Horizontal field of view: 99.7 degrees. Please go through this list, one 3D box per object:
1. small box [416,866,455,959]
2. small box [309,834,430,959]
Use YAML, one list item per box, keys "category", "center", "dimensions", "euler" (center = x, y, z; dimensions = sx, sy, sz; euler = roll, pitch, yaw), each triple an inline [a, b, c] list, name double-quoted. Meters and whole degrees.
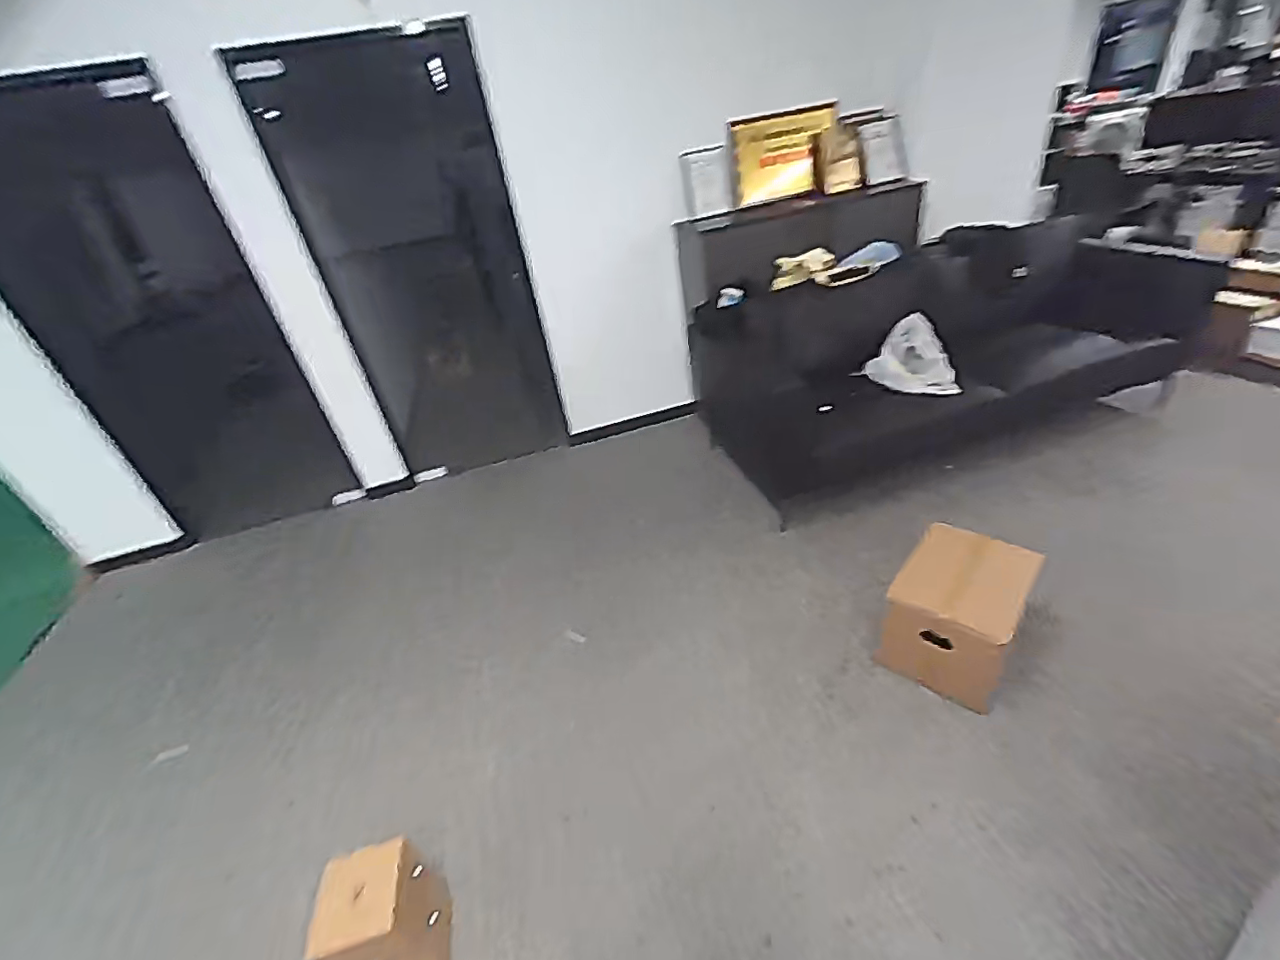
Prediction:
- category: "small box"
  center: [-0.546, 1.043, 1.245]
  dimensions: [0.179, 0.176, 0.168]
  euler: [-15, 32, -8]
- category: "small box"
  center: [-0.562, 0.910, 1.152]
  dimensions: [0.168, 0.176, 0.179]
  euler: [-16, 33, -7]
